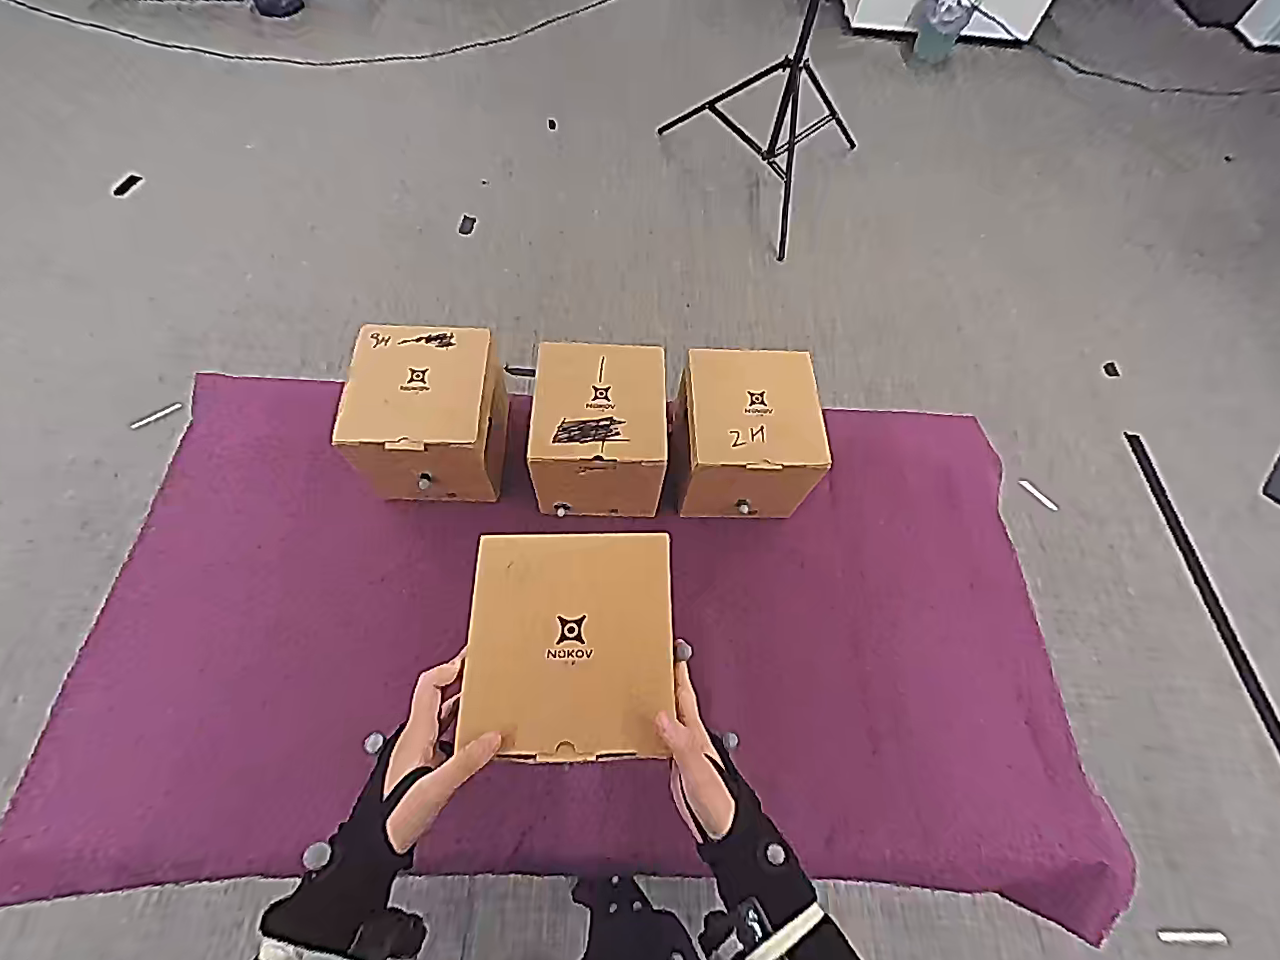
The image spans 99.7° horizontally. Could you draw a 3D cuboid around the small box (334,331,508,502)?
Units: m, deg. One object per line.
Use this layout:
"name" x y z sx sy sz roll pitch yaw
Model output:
"small box" -0.278 -0.078 0.733 0.168 0.176 0.179 1 65 -4
